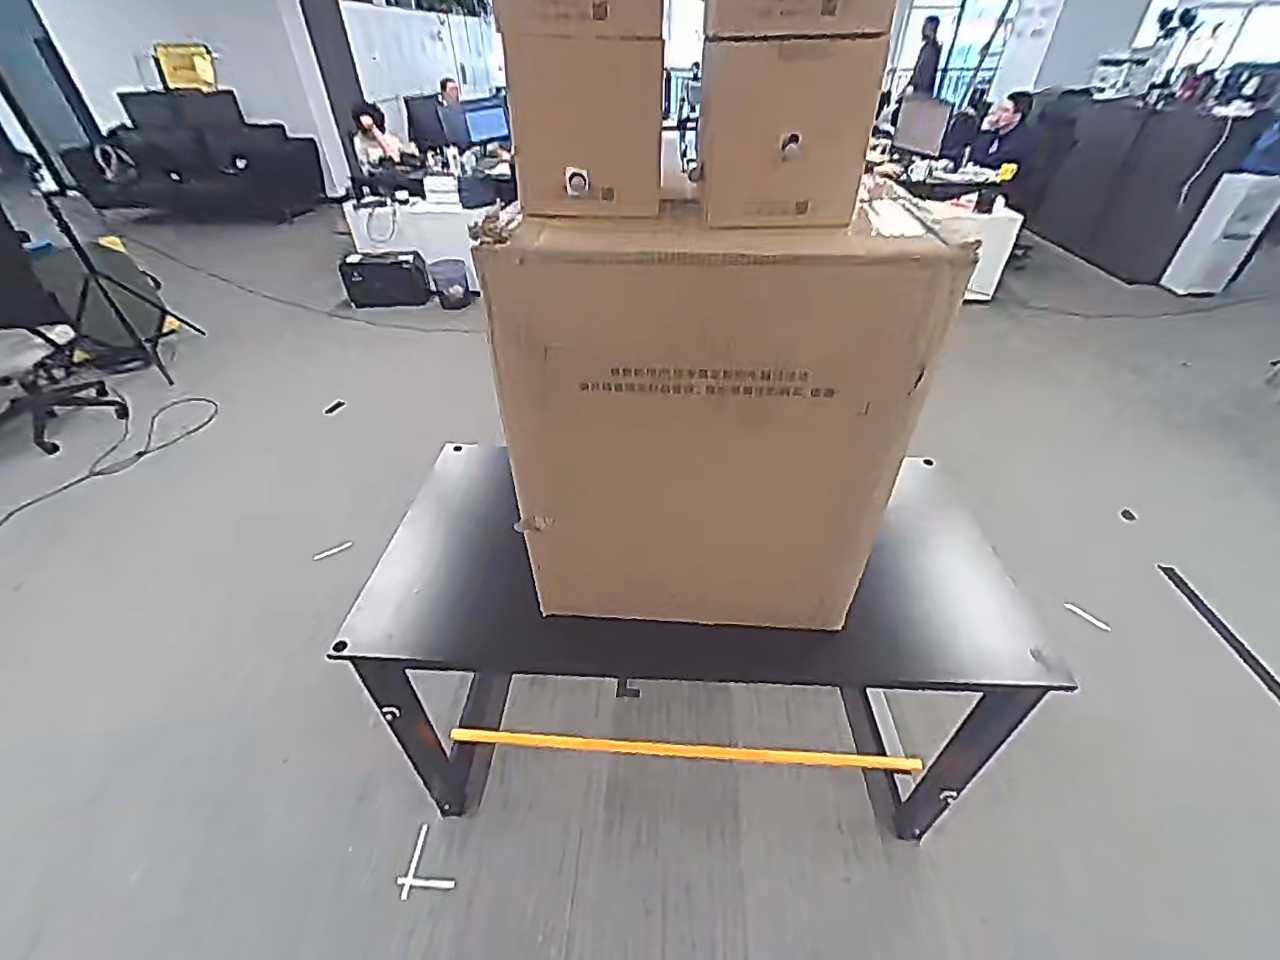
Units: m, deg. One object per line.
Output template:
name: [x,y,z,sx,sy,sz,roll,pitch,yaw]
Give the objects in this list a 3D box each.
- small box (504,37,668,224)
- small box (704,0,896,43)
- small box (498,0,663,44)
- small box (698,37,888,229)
small box: [-0.057,-0.422,0.651,0.168,0.176,0.179,-1,40,-2]
small box: [0.150,-0.521,0.510,0.168,0.176,0.179,0,40,3]
small box: [-0.058,-0.549,0.546,0.168,0.176,0.179,0,39,0]
small box: [0.155,-0.396,0.619,0.168,0.176,0.179,-1,40,1]
